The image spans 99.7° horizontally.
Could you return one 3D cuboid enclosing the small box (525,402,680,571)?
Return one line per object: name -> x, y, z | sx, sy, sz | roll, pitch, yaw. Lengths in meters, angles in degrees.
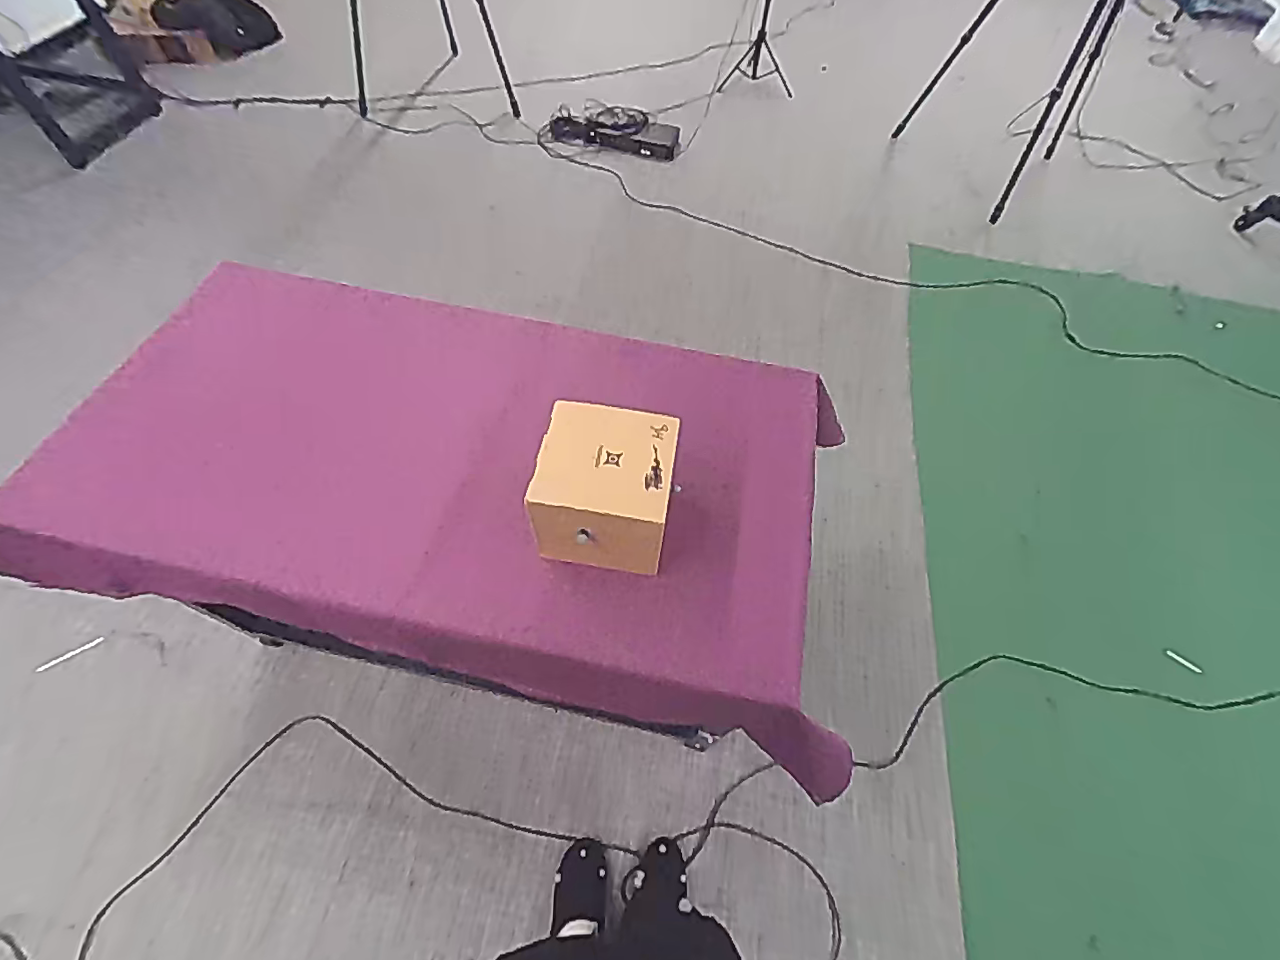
small box -> -0.046, 0.015, 0.768 | 0.179, 0.176, 0.168 | 9, 57, 4
